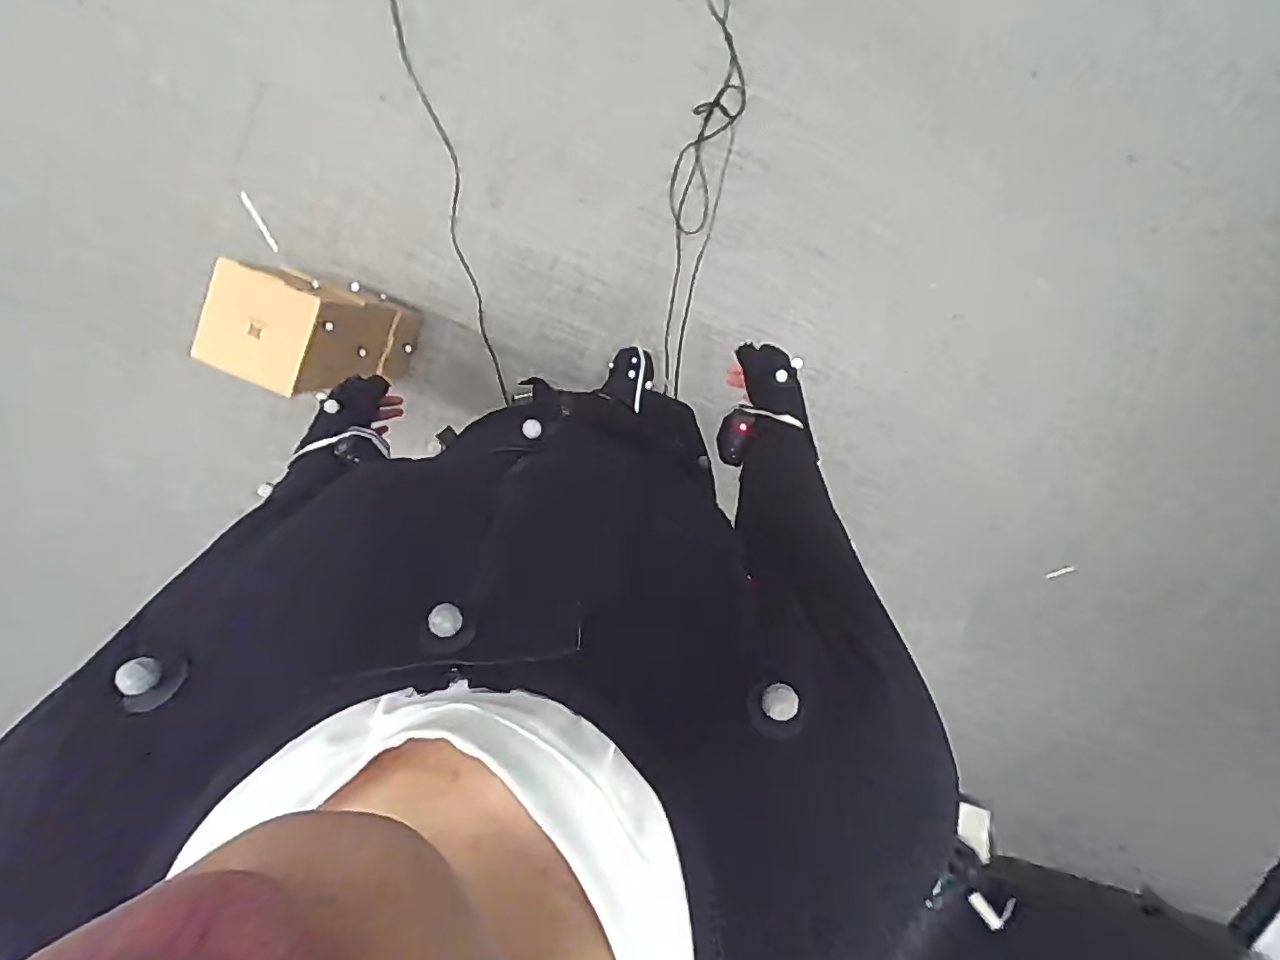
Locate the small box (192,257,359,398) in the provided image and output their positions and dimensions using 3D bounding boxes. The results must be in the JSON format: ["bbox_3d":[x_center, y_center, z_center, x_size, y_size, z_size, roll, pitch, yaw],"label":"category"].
[{"bbox_3d":[-0.631,-0.263,0.958,0.168,0.176,0.179,23,101,-9],"label":"small box"}]

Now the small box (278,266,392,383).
[{"bbox_3d":[-0.639,-0.311,1.113,0.168,0.176,0.179,23,101,-9],"label":"small box"}]

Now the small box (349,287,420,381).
[{"bbox_3d":[-0.645,-0.348,1.274,0.179,0.176,0.168,22,101,-10],"label":"small box"}]
